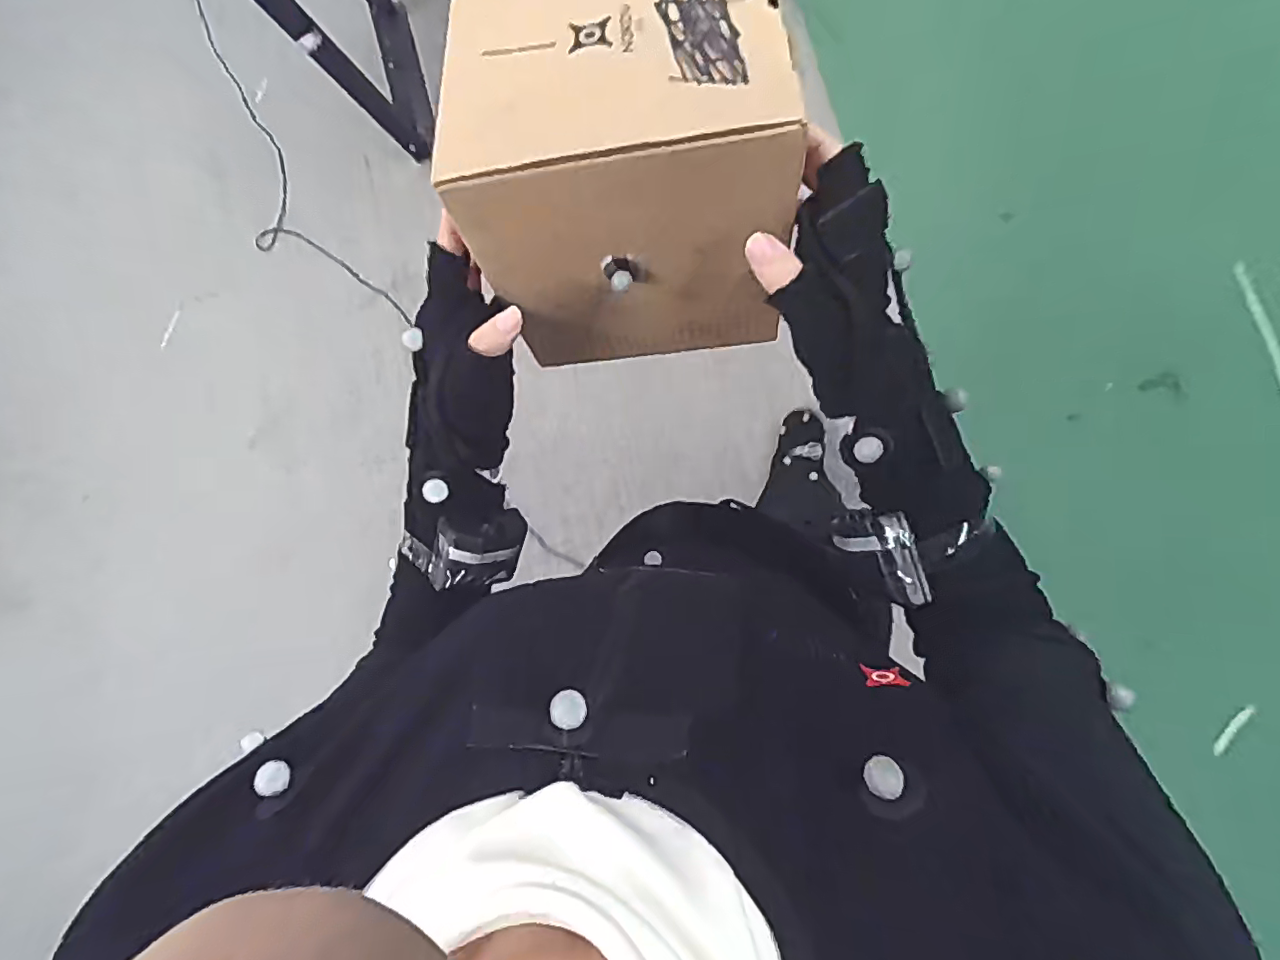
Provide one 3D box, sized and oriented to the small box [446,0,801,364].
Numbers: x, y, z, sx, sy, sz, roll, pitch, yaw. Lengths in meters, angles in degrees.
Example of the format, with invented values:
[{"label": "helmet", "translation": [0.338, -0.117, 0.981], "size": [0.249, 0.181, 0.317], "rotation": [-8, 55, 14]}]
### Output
[{"label": "small box", "translation": [-0.003, -0.197, 0.360], "size": [0.179, 0.176, 0.168], "rotation": [-6, 68, 7]}]
